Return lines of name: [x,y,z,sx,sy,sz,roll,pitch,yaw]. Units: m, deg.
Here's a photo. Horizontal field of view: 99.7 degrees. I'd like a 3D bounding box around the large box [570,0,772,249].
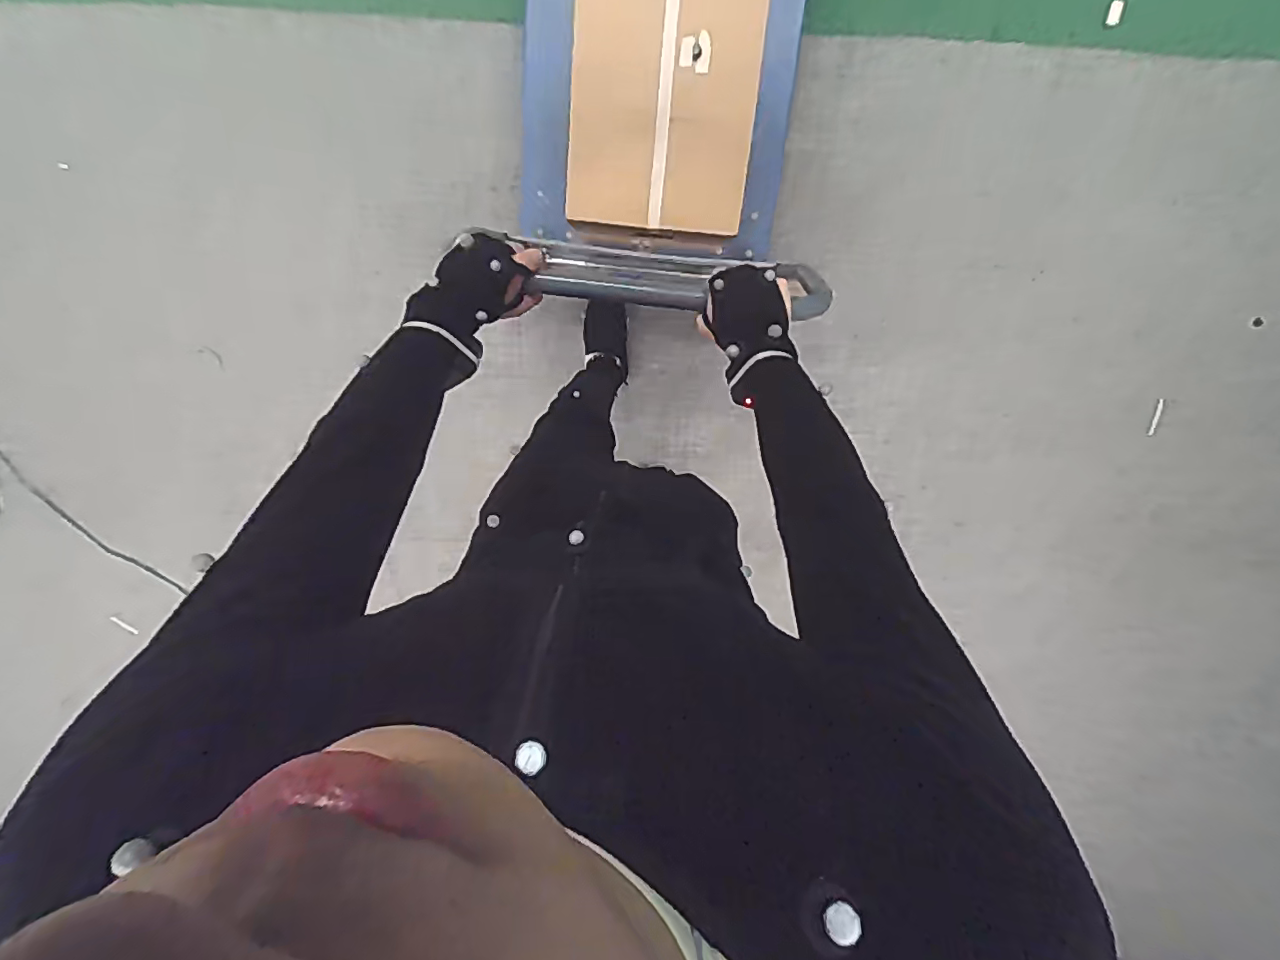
large box: [0.049,-0.689,1.050,0.320,0.320,0.408,6,108,-2]
